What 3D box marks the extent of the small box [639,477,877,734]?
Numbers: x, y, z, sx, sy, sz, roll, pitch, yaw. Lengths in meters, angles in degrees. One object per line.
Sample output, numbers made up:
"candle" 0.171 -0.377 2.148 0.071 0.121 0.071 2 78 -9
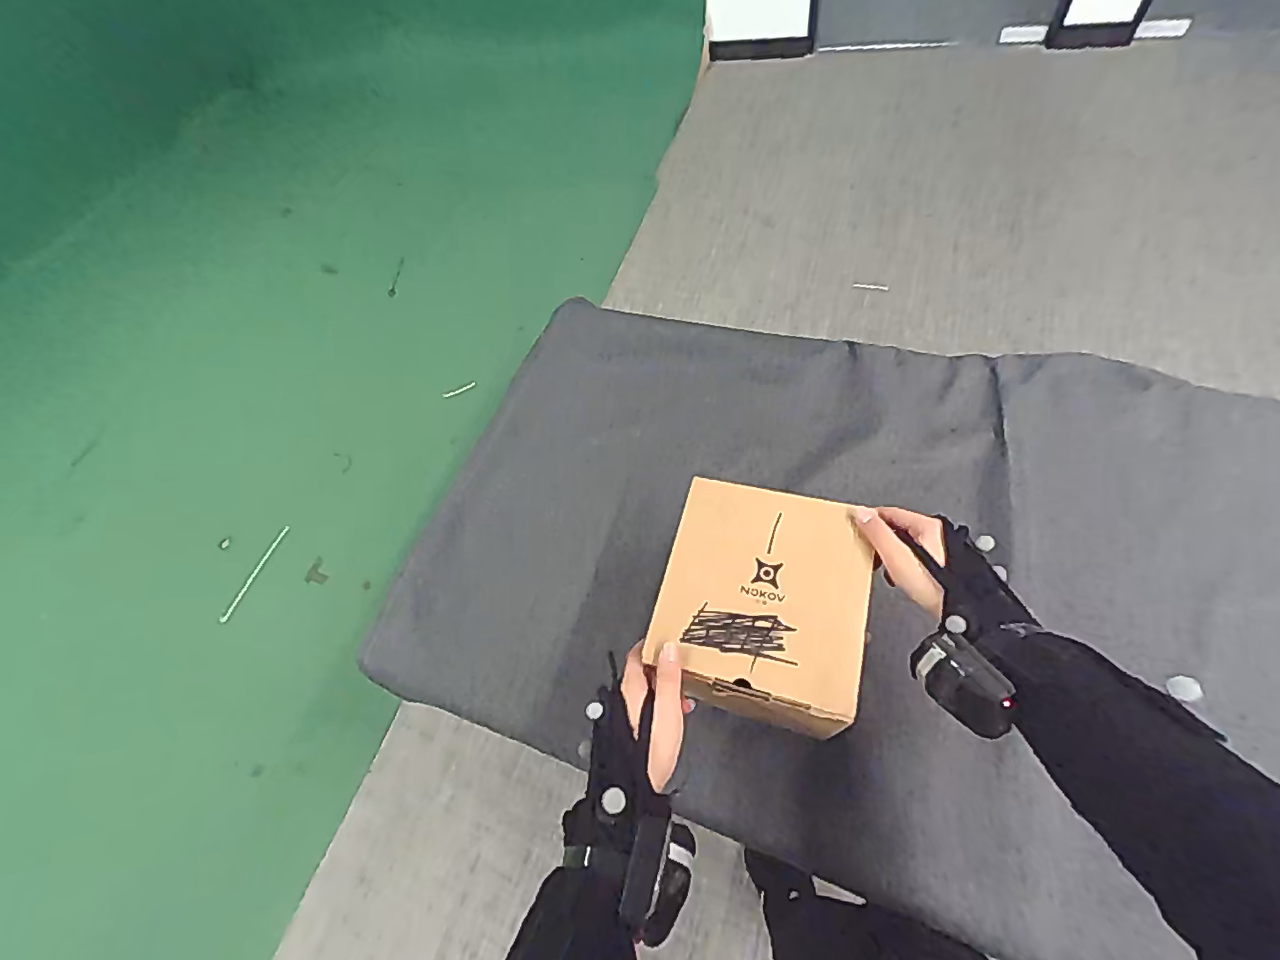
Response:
"small box" 0.114 0.125 0.515 0.168 0.176 0.179 11 63 17
